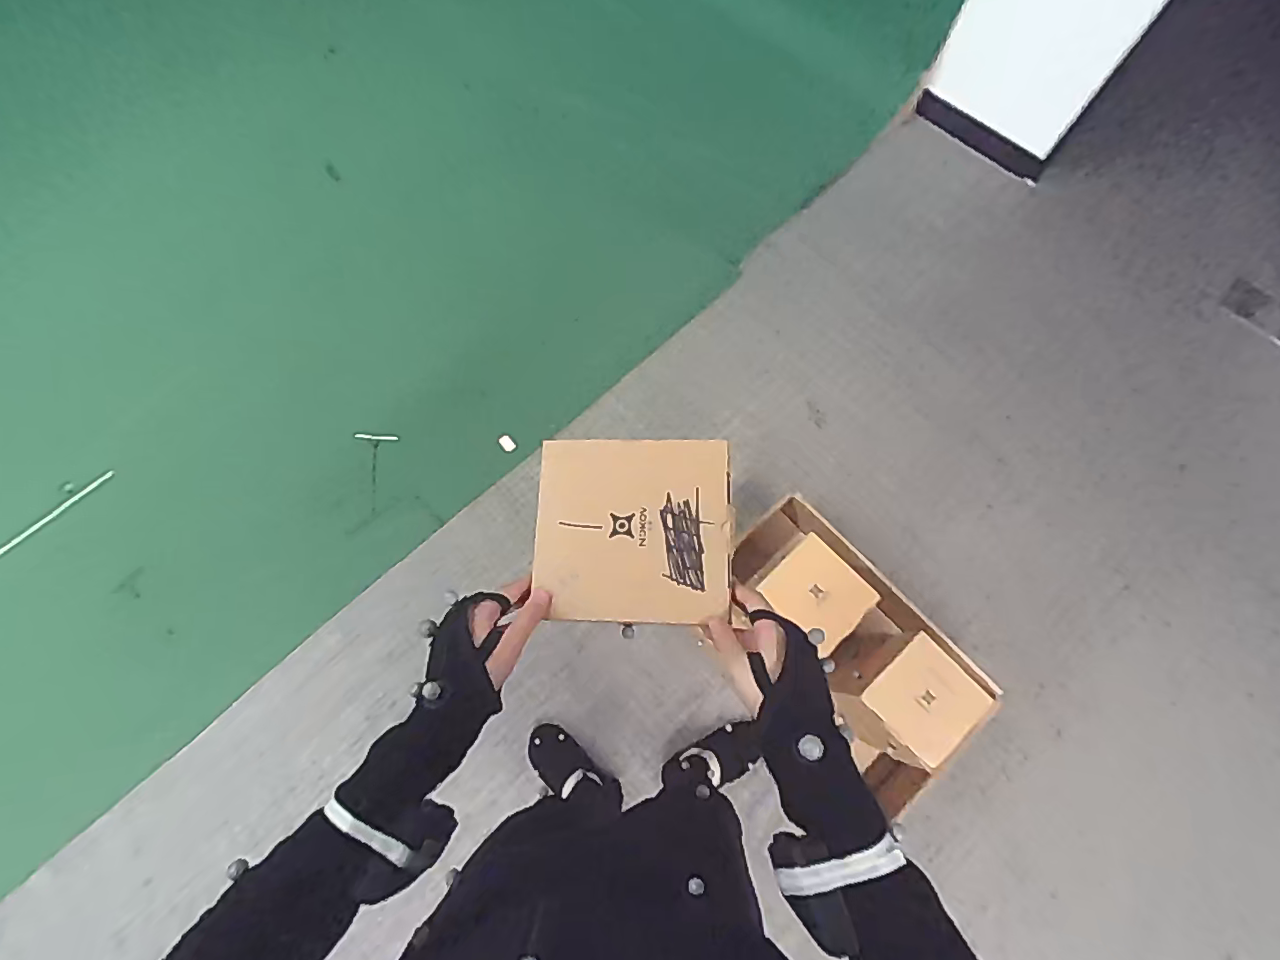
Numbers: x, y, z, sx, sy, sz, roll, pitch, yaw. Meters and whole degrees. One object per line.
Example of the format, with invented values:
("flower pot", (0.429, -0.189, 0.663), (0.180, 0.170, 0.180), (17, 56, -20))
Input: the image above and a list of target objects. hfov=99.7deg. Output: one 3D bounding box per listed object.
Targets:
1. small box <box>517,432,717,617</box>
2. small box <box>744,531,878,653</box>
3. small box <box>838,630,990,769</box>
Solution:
("small box", (-0.011, 0.054, 0.560), (0.179, 0.176, 0.168), (-1, 75, 7))
("small box", (0.333, 0.234, 1.098), (0.168, 0.176, 0.179), (-42, 76, -11))
("small box", (0.505, 0.411, 1.034), (0.179, 0.176, 0.168), (-39, 75, -11))
